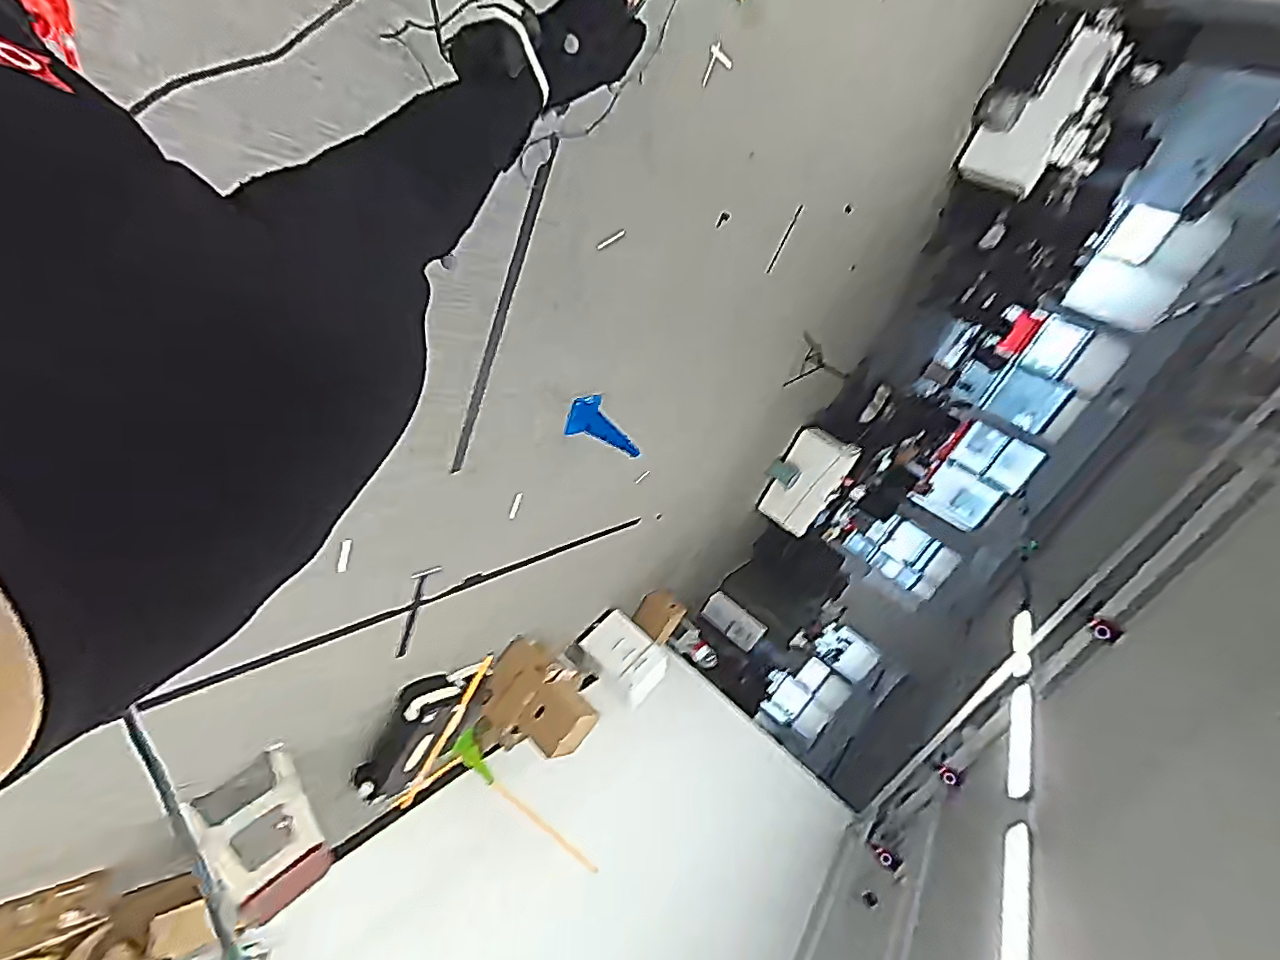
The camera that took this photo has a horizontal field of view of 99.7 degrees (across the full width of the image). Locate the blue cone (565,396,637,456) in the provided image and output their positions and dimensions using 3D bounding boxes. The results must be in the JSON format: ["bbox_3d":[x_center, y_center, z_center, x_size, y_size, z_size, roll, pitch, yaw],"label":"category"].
[{"bbox_3d":[-0.152,-0.223,2.496,0.192,0.380,0.193,-20,139,-50],"label":"blue cone"}]
